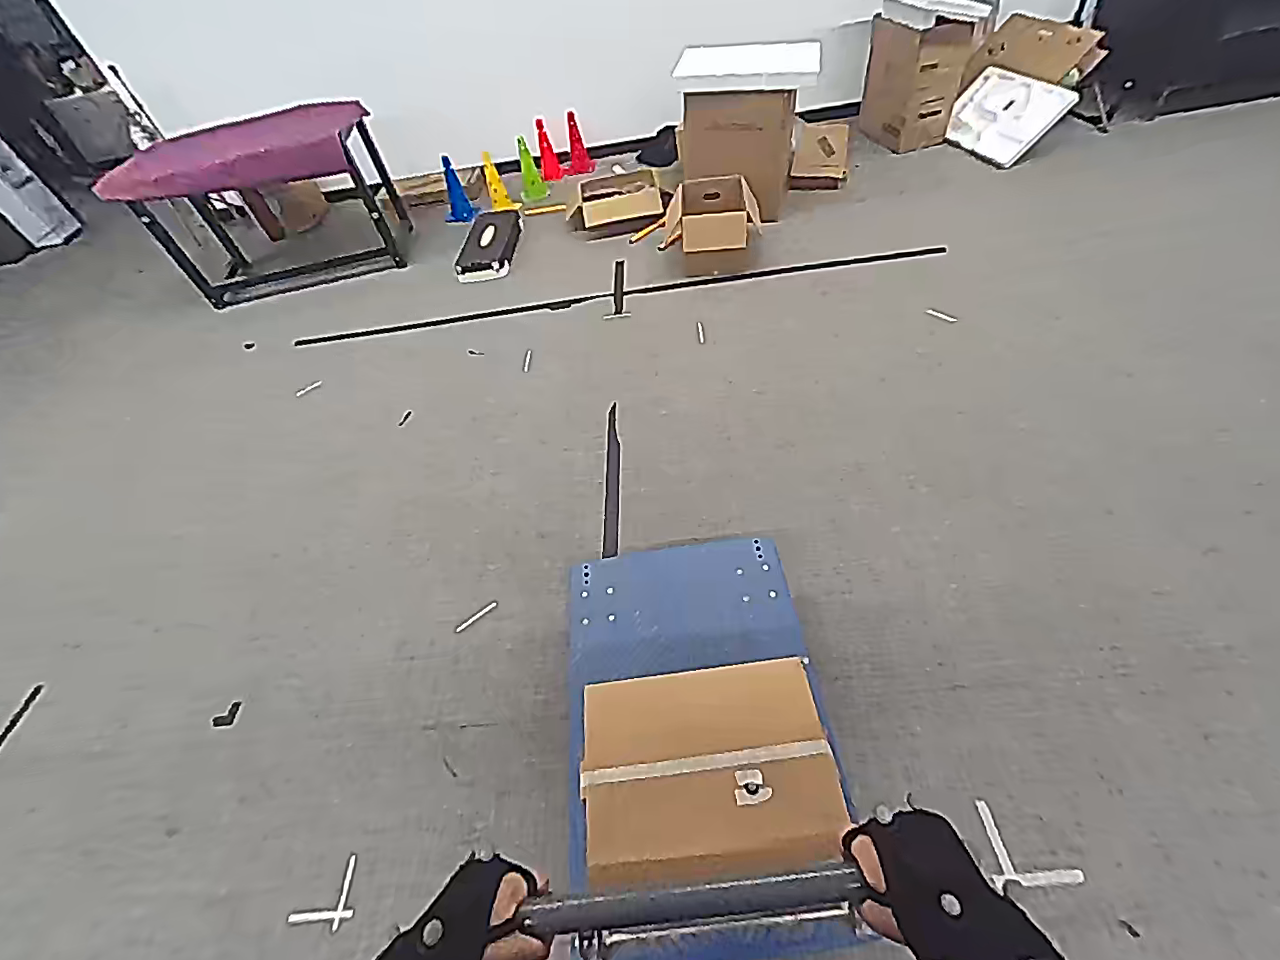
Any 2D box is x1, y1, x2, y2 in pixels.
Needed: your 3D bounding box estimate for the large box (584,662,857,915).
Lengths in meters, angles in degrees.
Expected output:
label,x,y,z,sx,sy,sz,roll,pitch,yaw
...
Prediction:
label,x,y,z,sx,sy,sz,roll,pitch,yaw
large box,0.124,0.571,0.995,0.408,0.320,0.320,-8,49,2
